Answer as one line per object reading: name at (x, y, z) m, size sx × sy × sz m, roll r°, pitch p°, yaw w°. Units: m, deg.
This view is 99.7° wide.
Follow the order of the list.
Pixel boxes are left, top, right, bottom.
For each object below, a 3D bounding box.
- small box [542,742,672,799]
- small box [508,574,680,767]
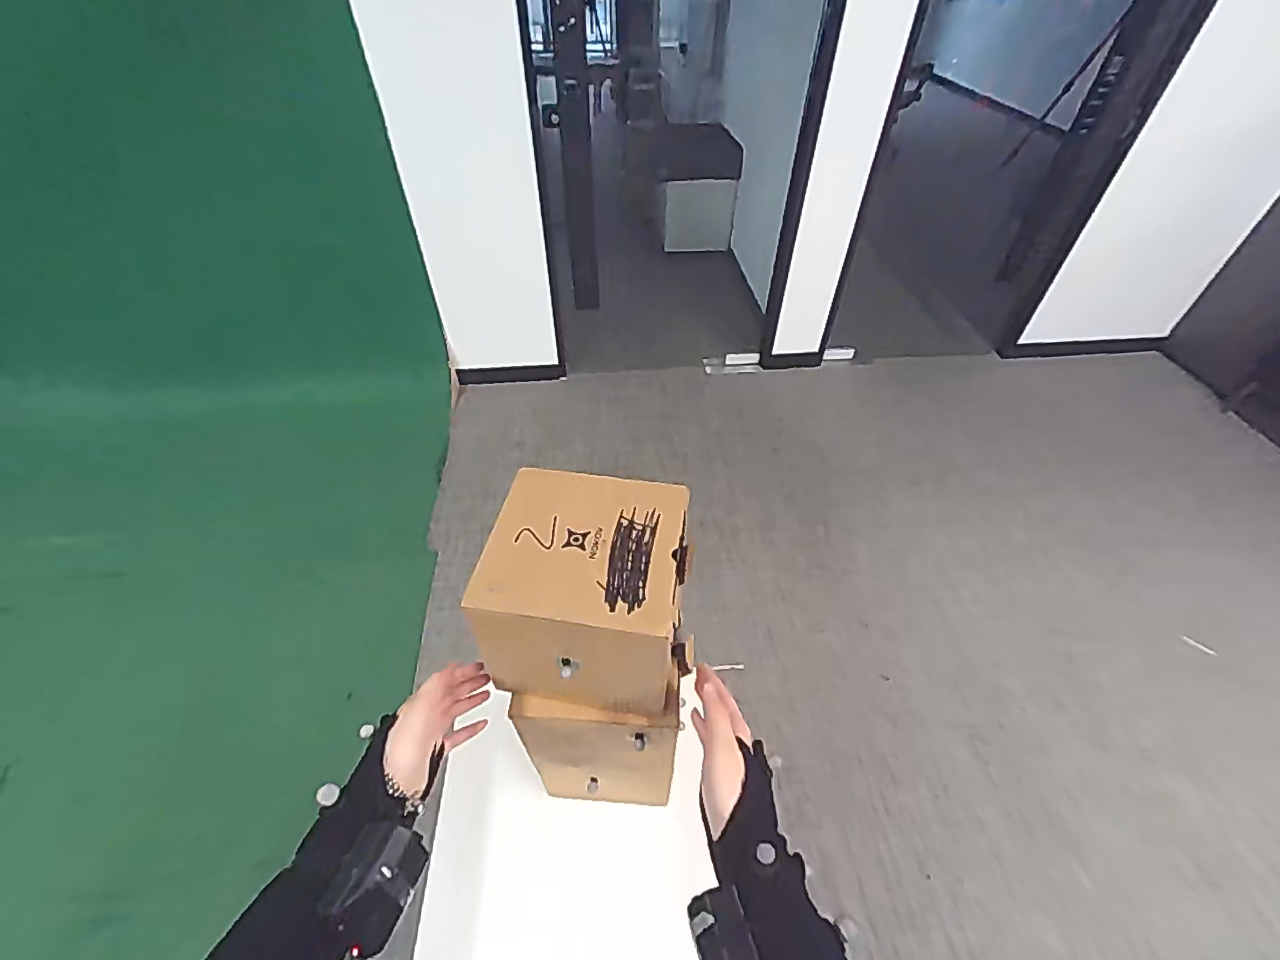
small box at (-0.041, 0.343, 0.776) m, size 0.179 × 0.176 × 0.168 m, roll 3°, pitch 47°, yaw 3°
small box at (-0.044, 0.233, 0.656) m, size 0.179 × 0.176 × 0.168 m, roll 3°, pitch 47°, yaw 1°
